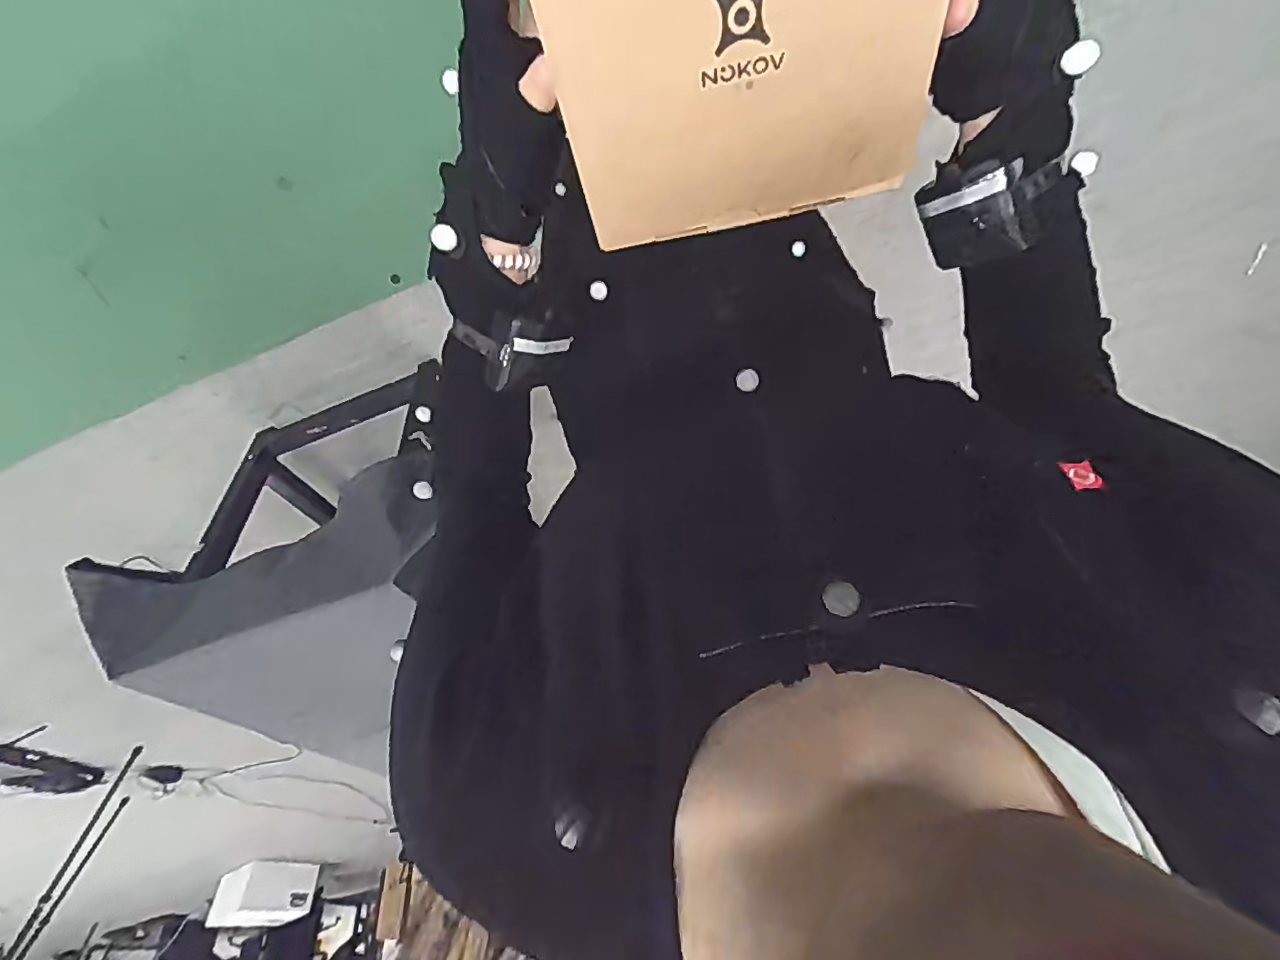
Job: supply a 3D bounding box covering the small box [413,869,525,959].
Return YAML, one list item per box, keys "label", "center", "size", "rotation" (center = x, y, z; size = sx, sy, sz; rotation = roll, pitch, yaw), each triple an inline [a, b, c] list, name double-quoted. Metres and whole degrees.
- label: "small box"
  center: [-0.352, 0.929, 1.120]
  size: [0.168, 0.176, 0.179]
  rotation: [-19, 135, 7]
